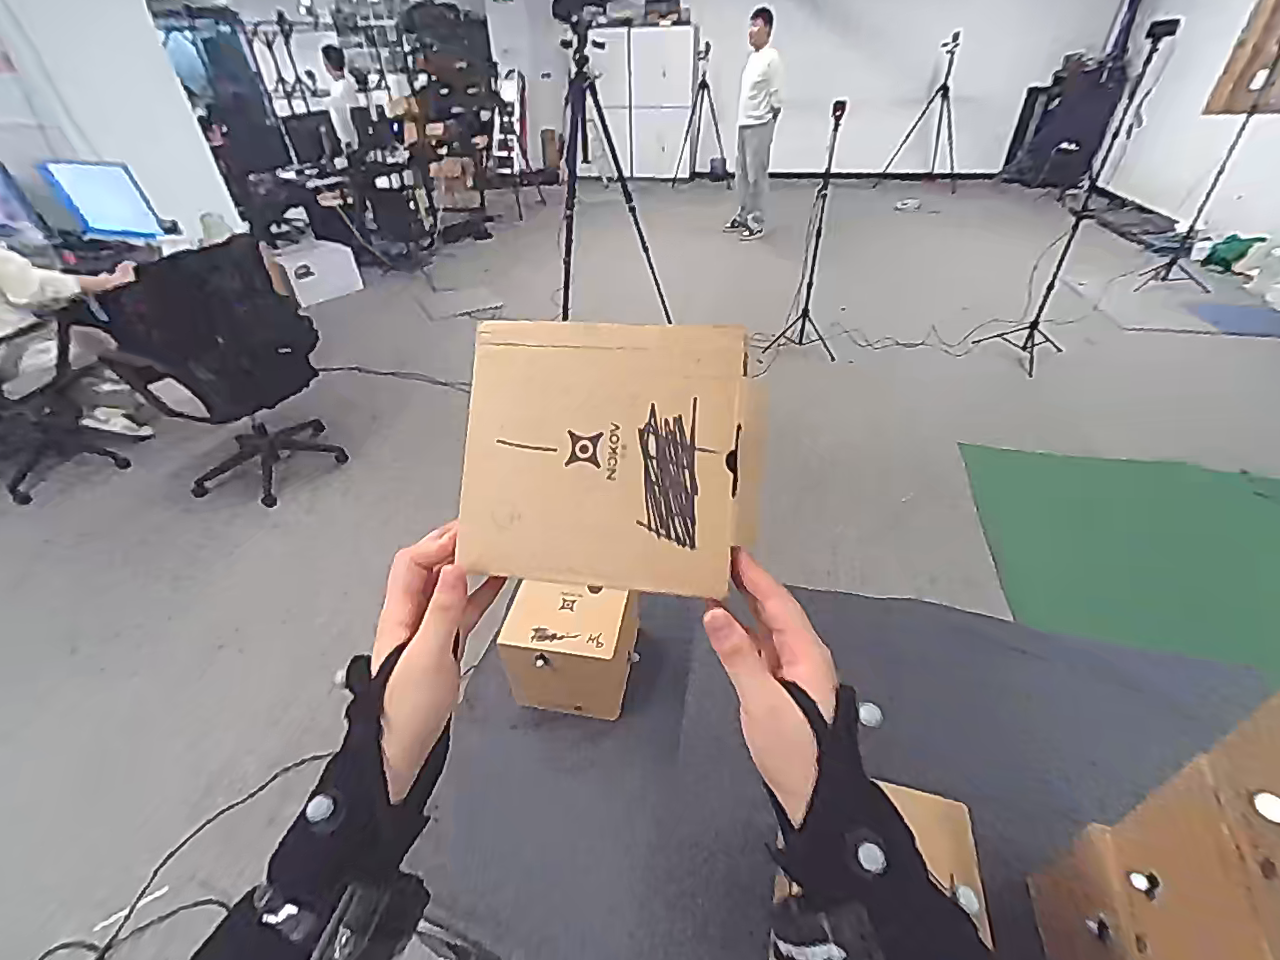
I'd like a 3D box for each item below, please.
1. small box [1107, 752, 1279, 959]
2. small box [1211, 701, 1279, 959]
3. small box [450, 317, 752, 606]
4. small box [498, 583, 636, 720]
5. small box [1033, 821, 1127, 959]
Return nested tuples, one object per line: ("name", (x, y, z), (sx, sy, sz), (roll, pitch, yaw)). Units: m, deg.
("small box", (0.505, 0.351, 0.405), (0.179, 0.176, 0.168), (14, 39, 22))
("small box", (0.503, 0.218, 0.308), (0.179, 0.176, 0.168), (15, 39, 23))
("small box", (-0.016, -0.012, 0.408), (0.179, 0.168, 0.176), (5, -2, 8))
("small box", (-0.101, 0.241, 0.844), (0.168, 0.176, 0.179), (5, 39, 9))
("small box", (0.514, 0.472, 0.514), (0.168, 0.176, 0.179), (7, 38, 14))
